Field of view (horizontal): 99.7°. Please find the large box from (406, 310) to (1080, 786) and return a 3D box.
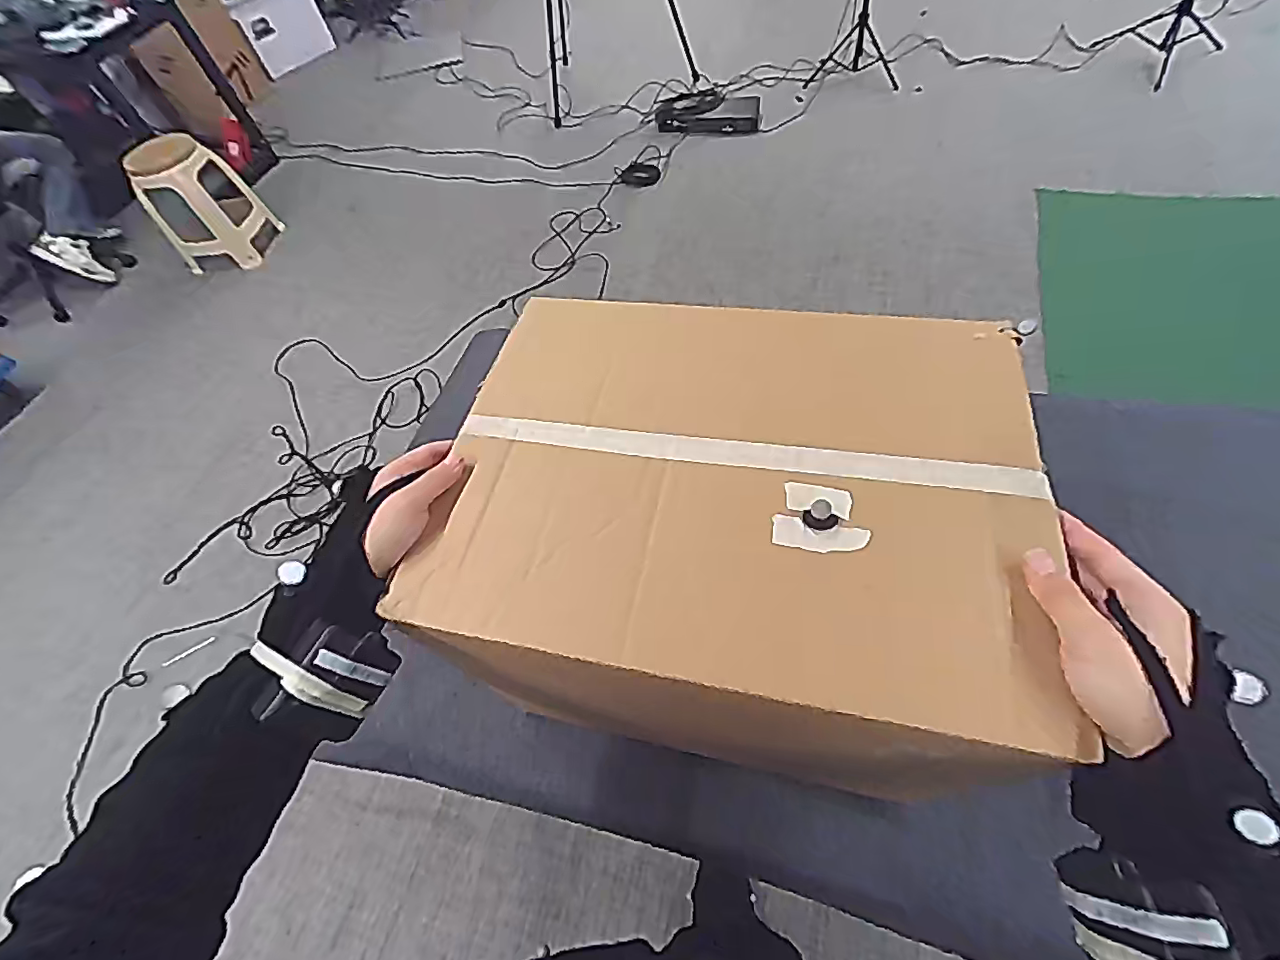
[{"bbox_3d":[0.080,0.068,0.518,0.408,0.320,0.320,7,58,12],"label":"large box"}]
